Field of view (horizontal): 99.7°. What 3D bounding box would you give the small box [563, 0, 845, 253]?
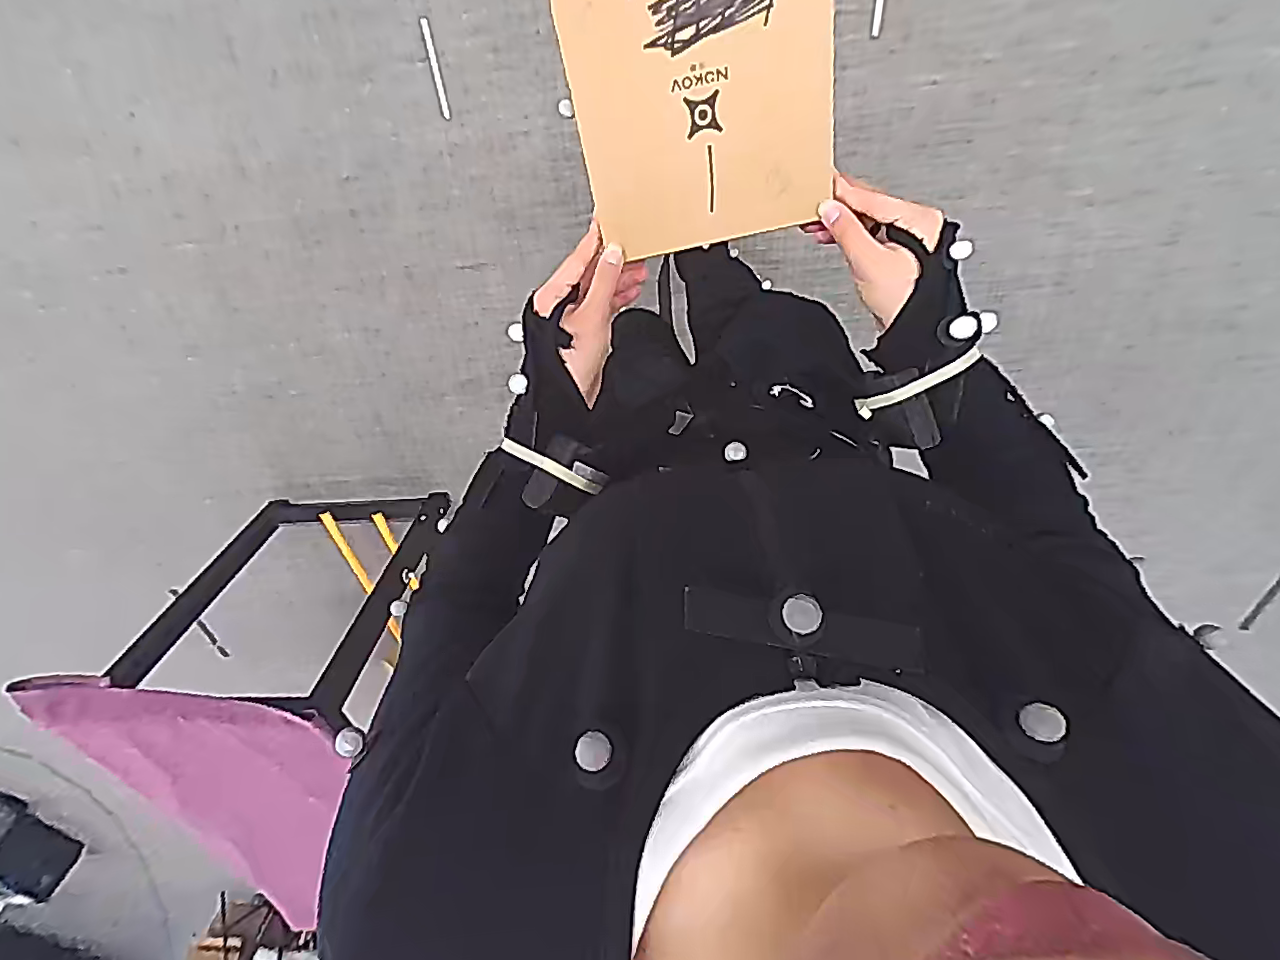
[{"bbox_3d":[0.040,-0.288,0.401,0.168,0.176,0.179,-10,123,4],"label":"small box"}]
